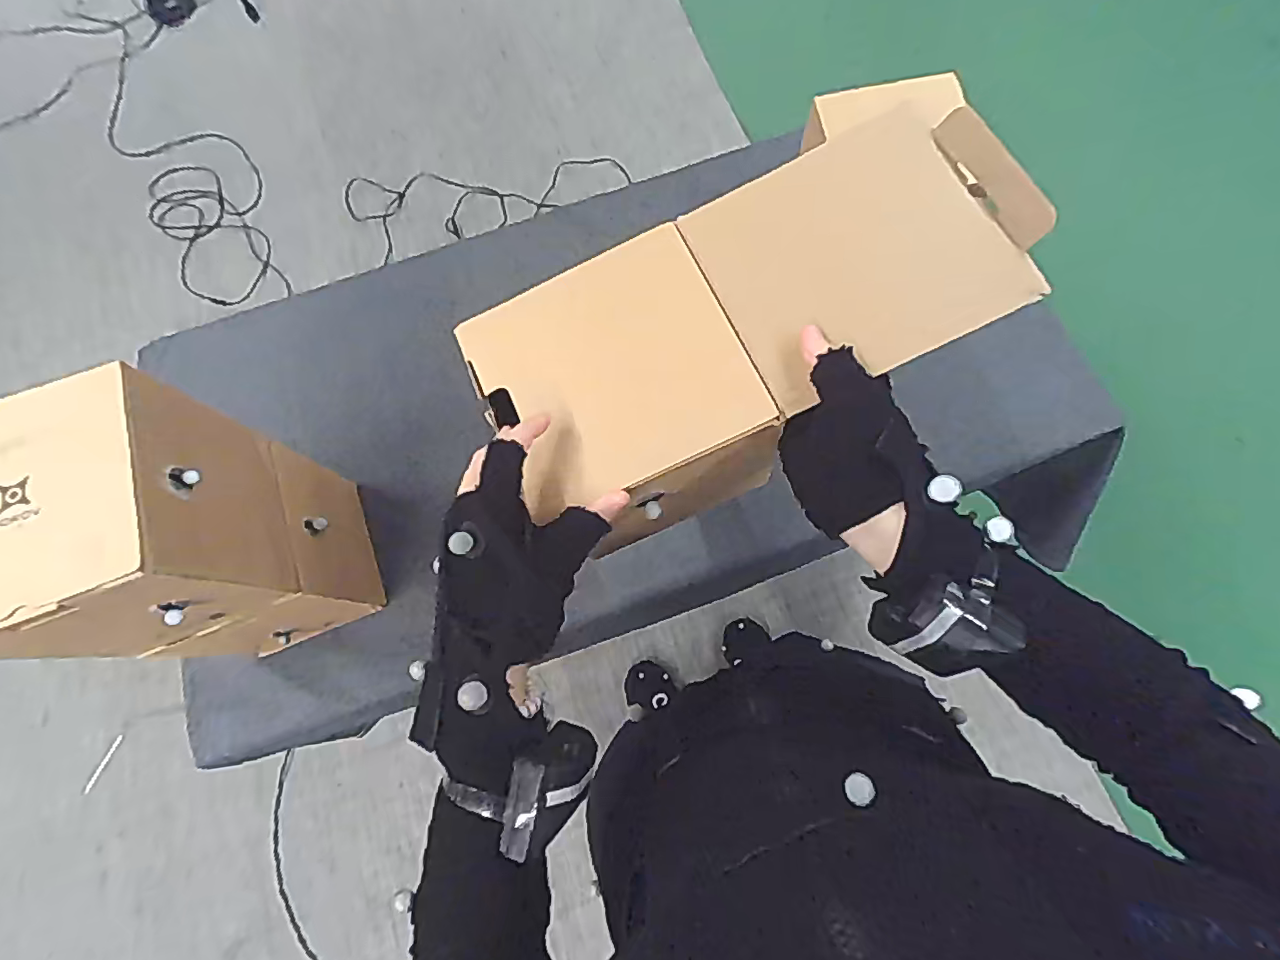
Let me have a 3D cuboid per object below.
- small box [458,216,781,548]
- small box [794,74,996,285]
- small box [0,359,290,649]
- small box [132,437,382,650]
[{"bbox_3d":[-0.007,-0.057,0.429,0.179,0.176,0.168,-25,74,3],"label":"small box"},{"bbox_3d":[0.310,-0.378,0.707,0.179,0.176,0.168,-8,74,1],"label":"small box"},{"bbox_3d":[-0.433,0.034,0.458,0.168,0.176,0.179,-20,73,-4],"label":"small box"},{"bbox_3d":[-0.425,0.081,0.613,0.168,0.176,0.179,-22,74,-4],"label":"small box"}]
